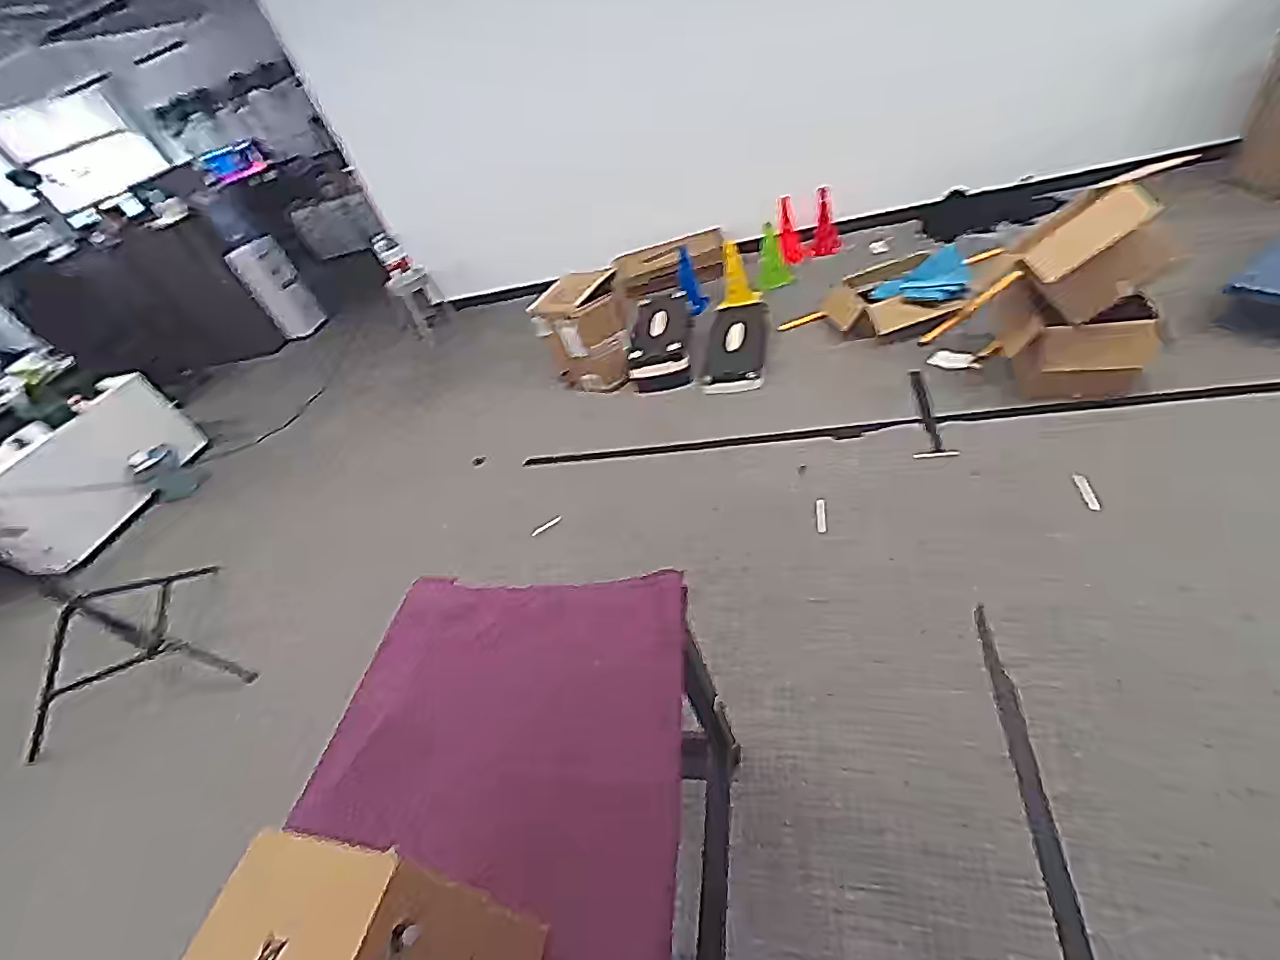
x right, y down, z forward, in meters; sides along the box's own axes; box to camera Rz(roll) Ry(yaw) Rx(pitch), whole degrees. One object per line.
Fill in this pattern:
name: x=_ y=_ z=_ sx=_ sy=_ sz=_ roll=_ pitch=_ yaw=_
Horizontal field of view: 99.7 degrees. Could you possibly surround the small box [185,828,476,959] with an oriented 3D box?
small box: x=-0.270 y=0.440 z=0.473 sx=0.168 sy=0.176 sz=0.179 roll=-4 pitch=44 yaw=20
